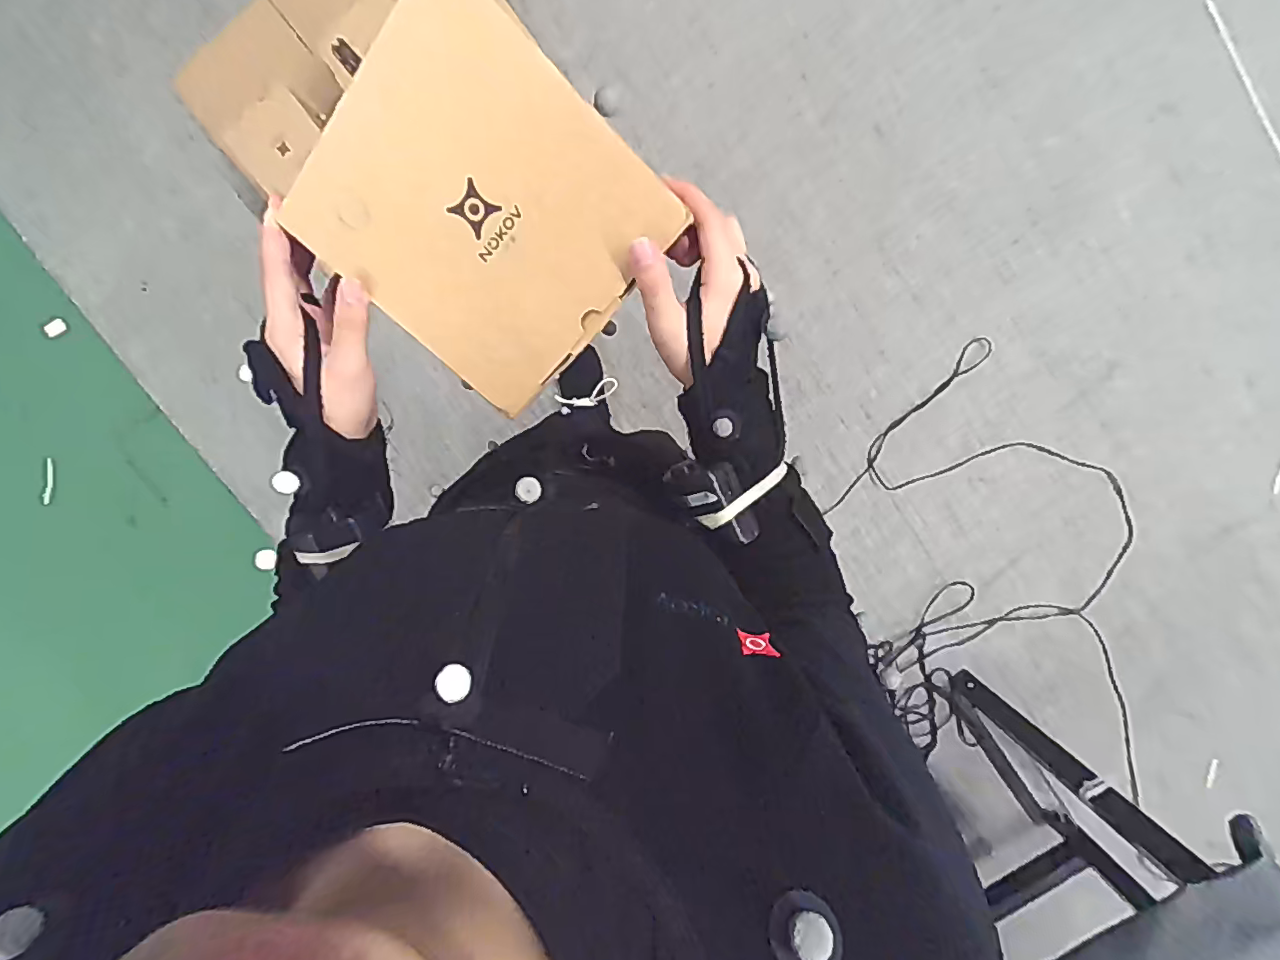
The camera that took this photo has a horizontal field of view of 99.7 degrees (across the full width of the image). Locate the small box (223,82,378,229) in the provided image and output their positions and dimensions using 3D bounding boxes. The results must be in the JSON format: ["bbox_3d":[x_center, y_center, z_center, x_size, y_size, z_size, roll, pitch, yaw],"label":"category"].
[{"bbox_3d":[-0.697,-0.664,1.132,0.168,0.176,0.179,-37,100,5],"label":"small box"}]
